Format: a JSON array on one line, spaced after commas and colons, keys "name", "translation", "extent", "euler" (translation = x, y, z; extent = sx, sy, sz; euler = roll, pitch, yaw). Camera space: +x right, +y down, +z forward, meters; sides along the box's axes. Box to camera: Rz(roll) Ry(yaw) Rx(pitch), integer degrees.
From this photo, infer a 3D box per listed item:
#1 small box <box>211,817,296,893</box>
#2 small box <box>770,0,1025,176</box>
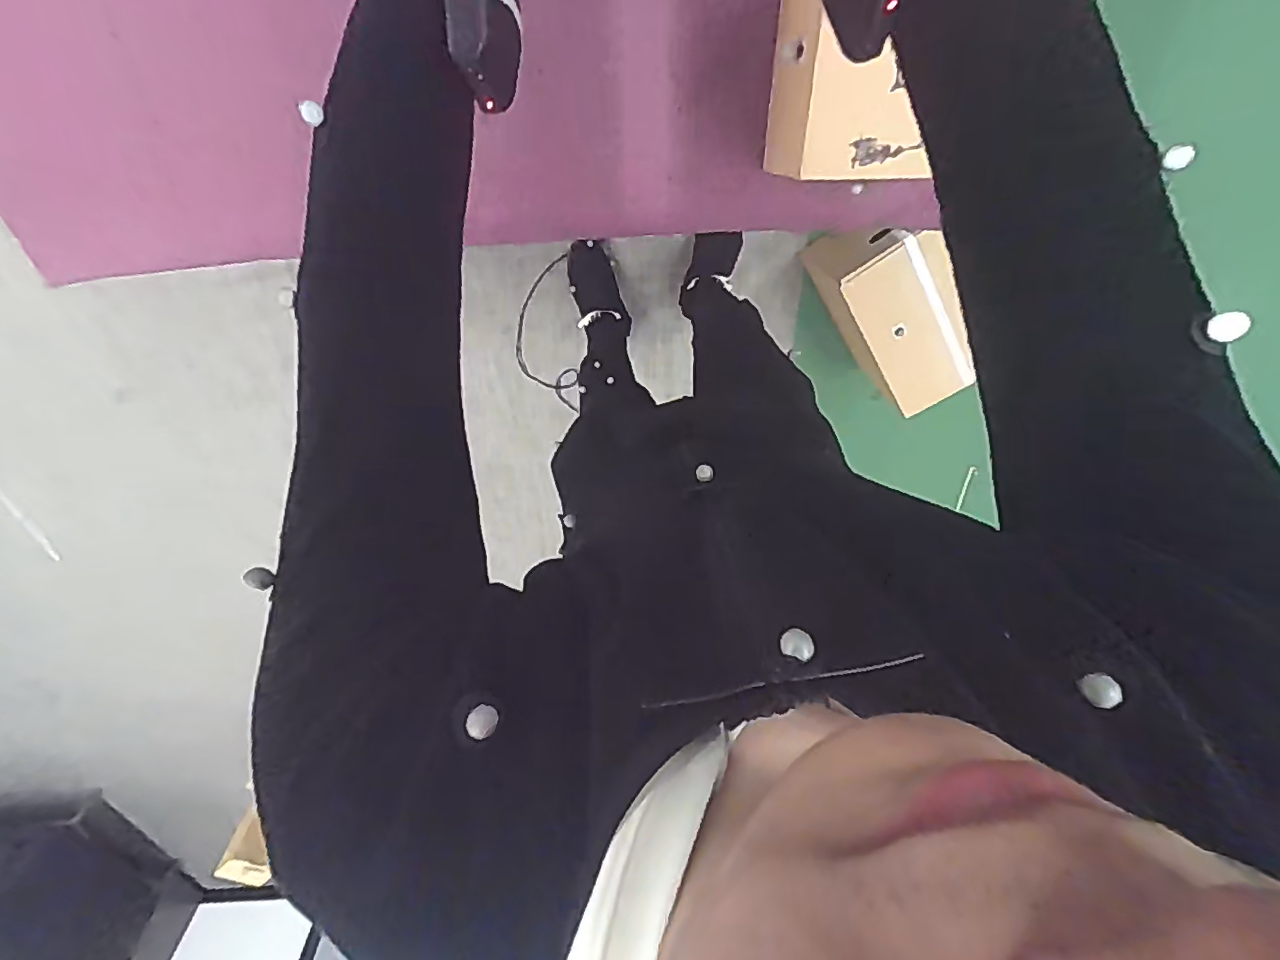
[{"name": "small box", "translation": [-1.385, 1.349, 1.950], "extent": [0.168, 0.176, 0.179], "euler": [37, 116, -23]}, {"name": "small box", "translation": [0.232, -0.401, 0.529], "extent": [0.168, 0.176, 0.179], "euler": [0, 122, 0]}]
